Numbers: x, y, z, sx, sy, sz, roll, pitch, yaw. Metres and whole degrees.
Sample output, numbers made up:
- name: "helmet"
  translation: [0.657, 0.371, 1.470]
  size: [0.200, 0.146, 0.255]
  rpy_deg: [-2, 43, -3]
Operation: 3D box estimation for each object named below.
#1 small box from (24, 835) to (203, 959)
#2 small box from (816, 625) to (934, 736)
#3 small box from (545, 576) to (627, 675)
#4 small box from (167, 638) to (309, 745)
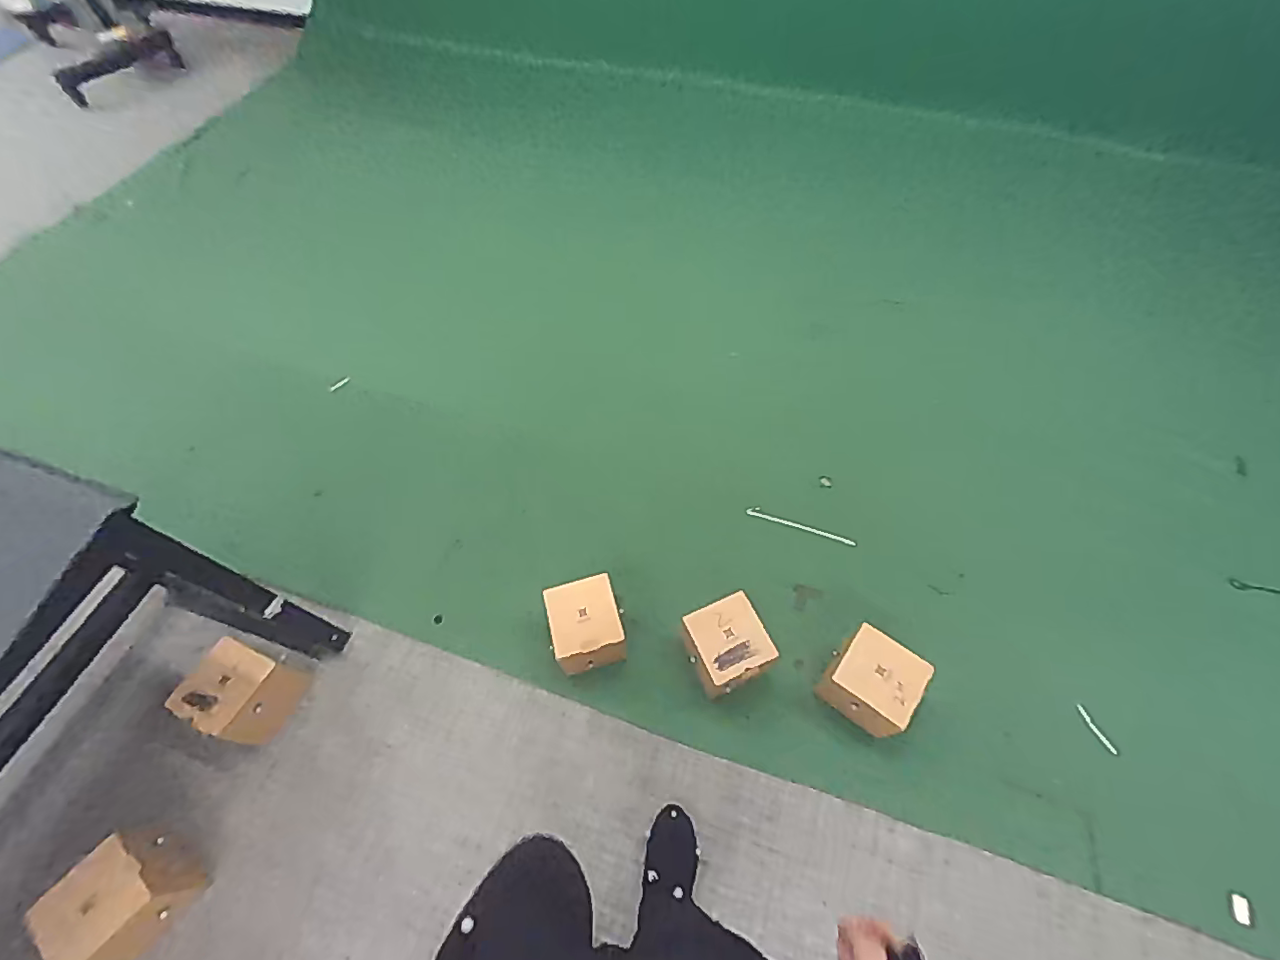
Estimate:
- name: "small box"
  translation: [-1.036, 0.849, 1.085]
  size: [0.168, 0.176, 0.179]
  rpy_deg: [34, 67, 20]
- name: "small box"
  translation: [0.543, 0.477, 1.272]
  size: [0.179, 0.176, 0.168]
  rpy_deg: [34, 66, 18]
- name: "small box"
  translation: [-0.133, 0.367, 1.354]
  size: [0.168, 0.176, 0.179]
  rpy_deg: [-15, 61, -8]
- name: "small box"
  translation: [-0.940, 0.508, 1.284]
  size: [0.168, 0.176, 0.179]
  rpy_deg: [21, 61, 12]
